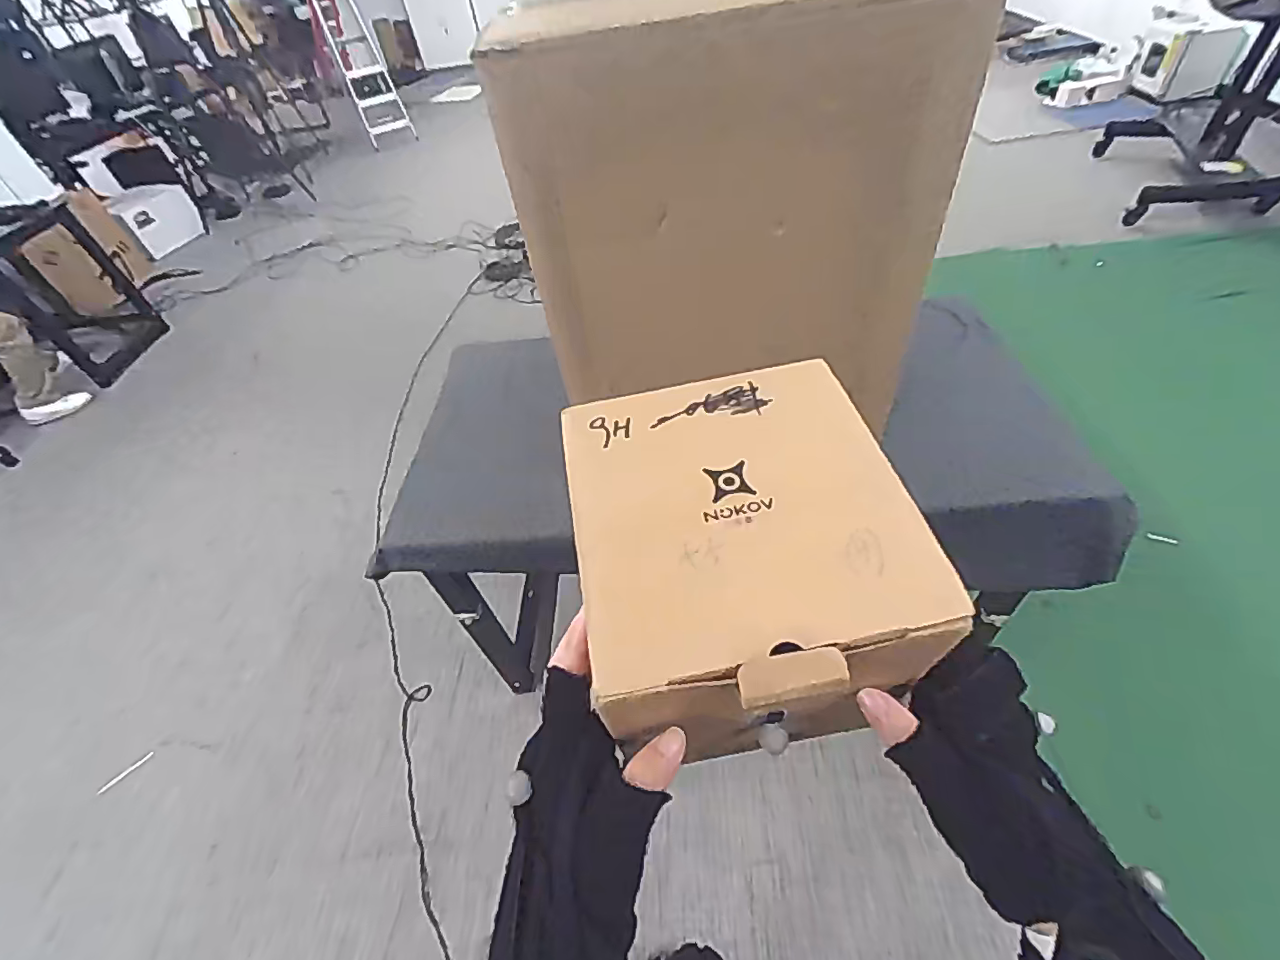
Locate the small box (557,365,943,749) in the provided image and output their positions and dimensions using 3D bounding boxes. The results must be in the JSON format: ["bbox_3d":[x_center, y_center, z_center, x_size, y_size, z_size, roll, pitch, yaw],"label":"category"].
[{"bbox_3d":[0.049,0.059,0.345,0.168,0.176,0.179,-10,53,-1],"label":"small box"}]
